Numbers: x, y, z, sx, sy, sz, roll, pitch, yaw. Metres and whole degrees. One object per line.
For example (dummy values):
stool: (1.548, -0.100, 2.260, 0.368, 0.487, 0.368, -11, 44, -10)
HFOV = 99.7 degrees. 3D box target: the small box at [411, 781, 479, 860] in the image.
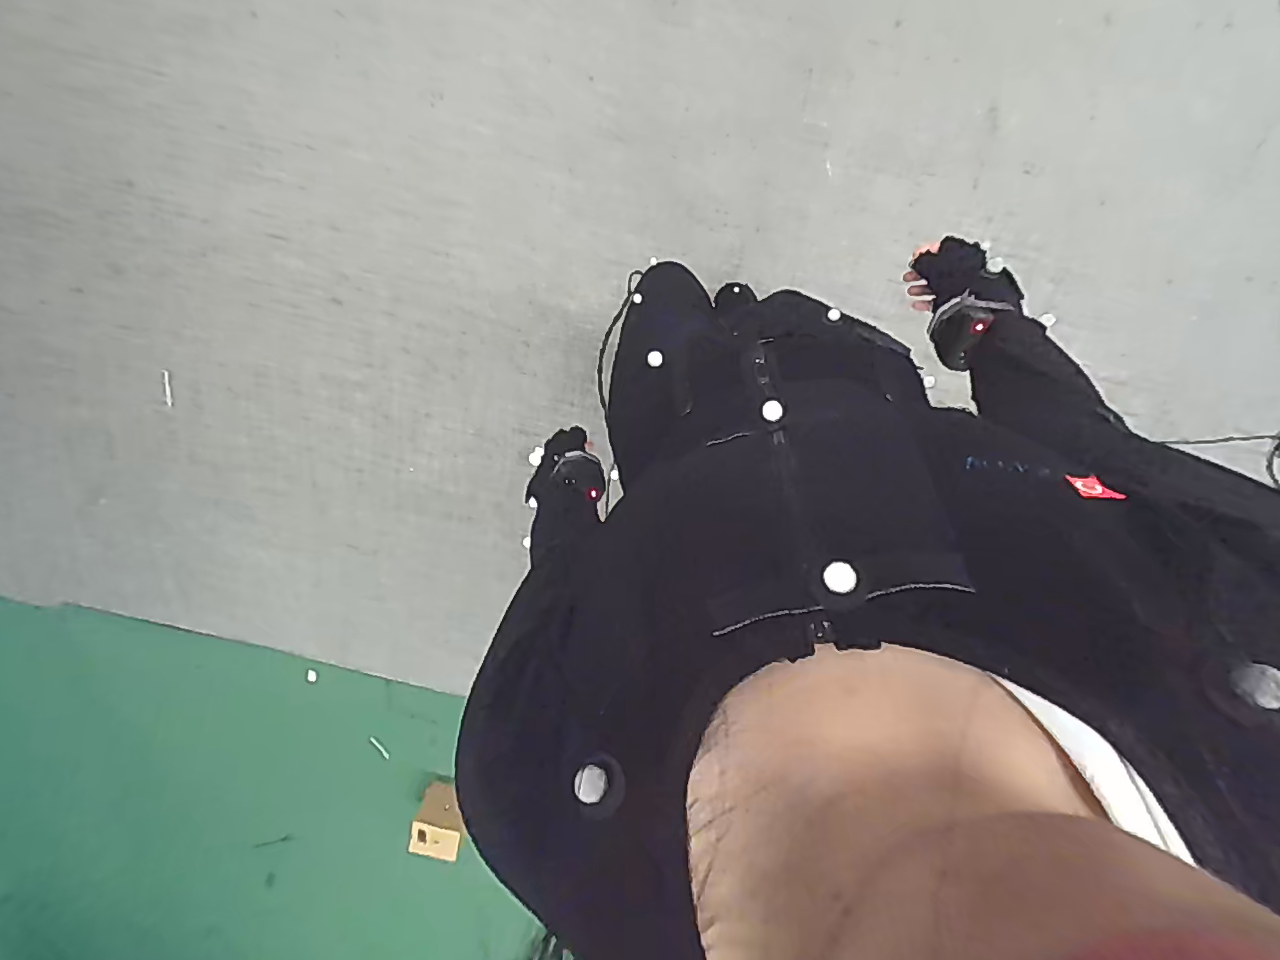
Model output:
small box: (-0.718, 1.252, 2.002, 0.179, 0.176, 0.168, 15, 112, -1)
